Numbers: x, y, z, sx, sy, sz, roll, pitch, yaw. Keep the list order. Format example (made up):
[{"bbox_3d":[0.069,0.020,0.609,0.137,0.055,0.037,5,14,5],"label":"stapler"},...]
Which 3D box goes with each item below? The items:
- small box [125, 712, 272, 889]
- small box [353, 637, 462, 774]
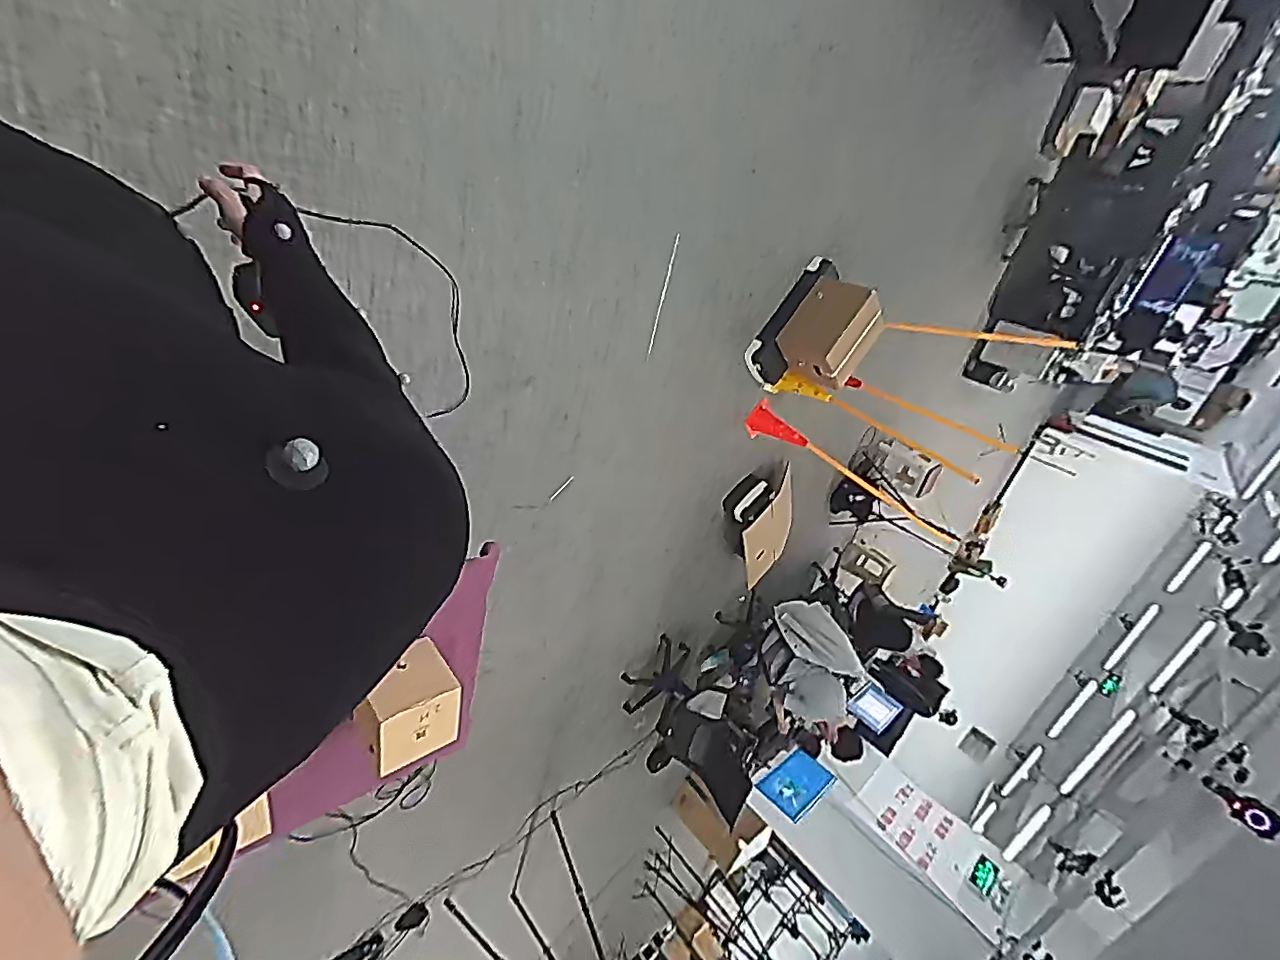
[{"bbox_3d":[-0.755,0.531,0.928,0.168,0.176,0.179,-12,127,-43],"label":"small box"},{"bbox_3d":[-0.503,0.475,1.161,0.168,0.176,0.179,-13,127,-42],"label":"small box"}]
